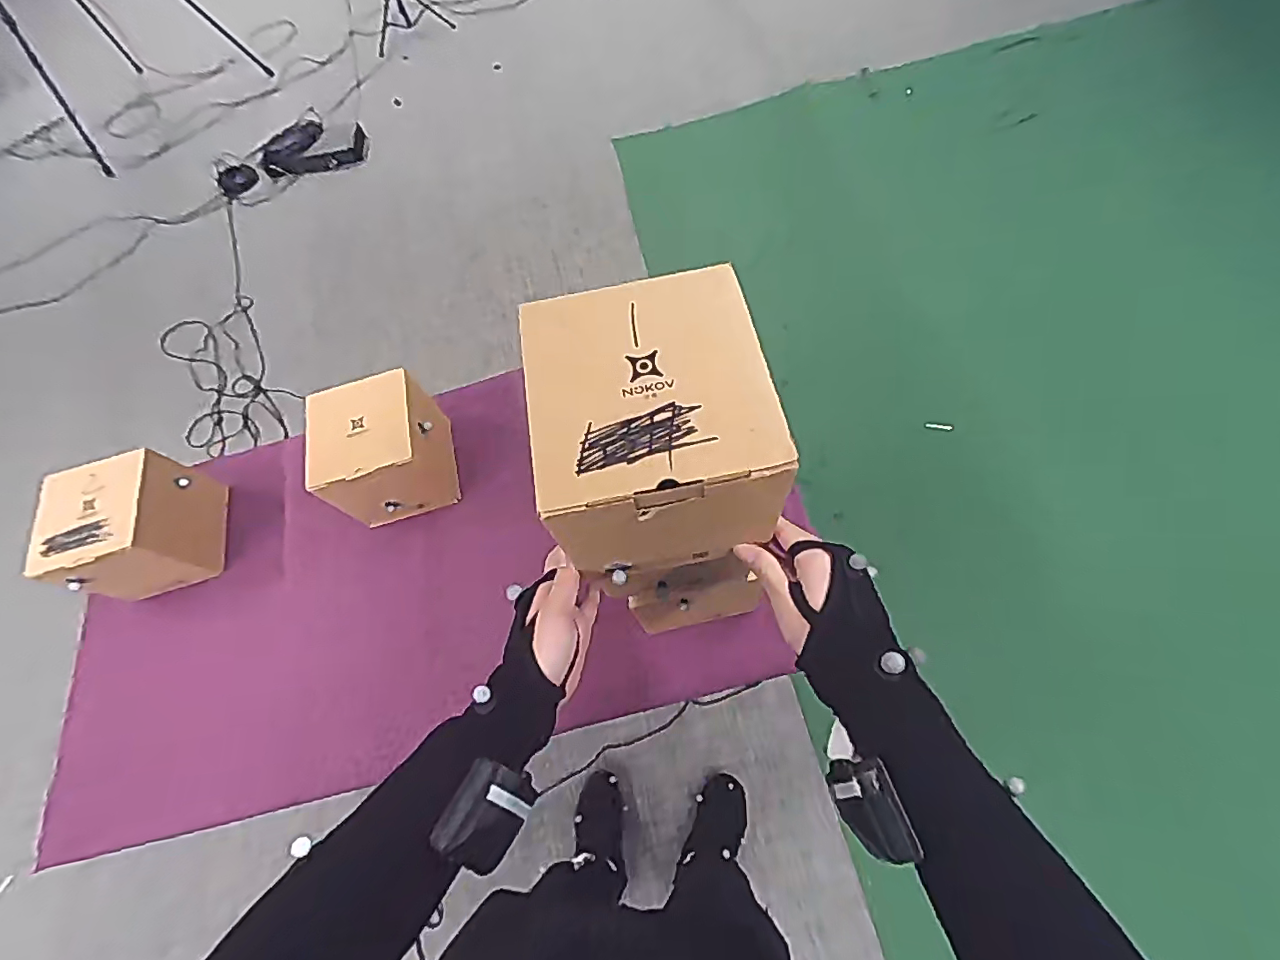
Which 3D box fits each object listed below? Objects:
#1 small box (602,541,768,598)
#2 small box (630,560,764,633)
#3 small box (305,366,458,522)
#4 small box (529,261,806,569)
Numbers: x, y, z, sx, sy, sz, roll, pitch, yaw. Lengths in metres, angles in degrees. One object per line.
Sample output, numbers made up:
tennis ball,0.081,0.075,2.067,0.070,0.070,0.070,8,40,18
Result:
small box,0.033,0.017,0.590,0.168,0.176,0.179,-8,65,2
small box,0.065,0.097,0.755,0.168,0.176,0.179,-13,62,3
small box,-0.418,-0.054,0.892,0.168,0.176,0.179,-16,65,-1
small box,0.017,-0.037,0.435,0.168,0.176,0.179,-10,64,0
